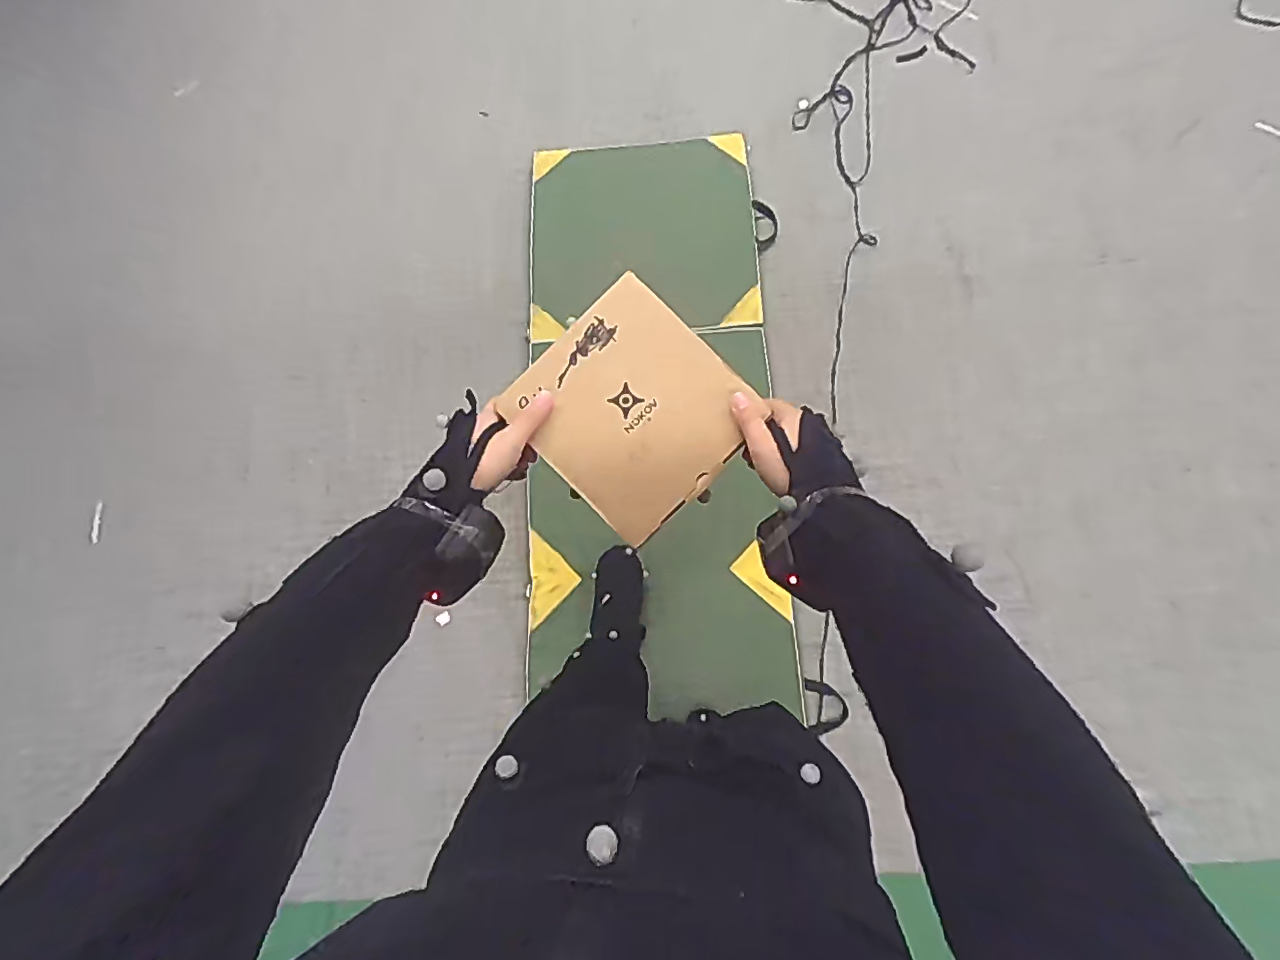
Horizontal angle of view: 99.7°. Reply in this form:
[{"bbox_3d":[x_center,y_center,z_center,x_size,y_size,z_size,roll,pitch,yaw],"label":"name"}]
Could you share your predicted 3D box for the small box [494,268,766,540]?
[{"bbox_3d":[-0.007,-0.064,0.536,0.168,0.176,0.179,-44,88,-1],"label":"small box"}]
